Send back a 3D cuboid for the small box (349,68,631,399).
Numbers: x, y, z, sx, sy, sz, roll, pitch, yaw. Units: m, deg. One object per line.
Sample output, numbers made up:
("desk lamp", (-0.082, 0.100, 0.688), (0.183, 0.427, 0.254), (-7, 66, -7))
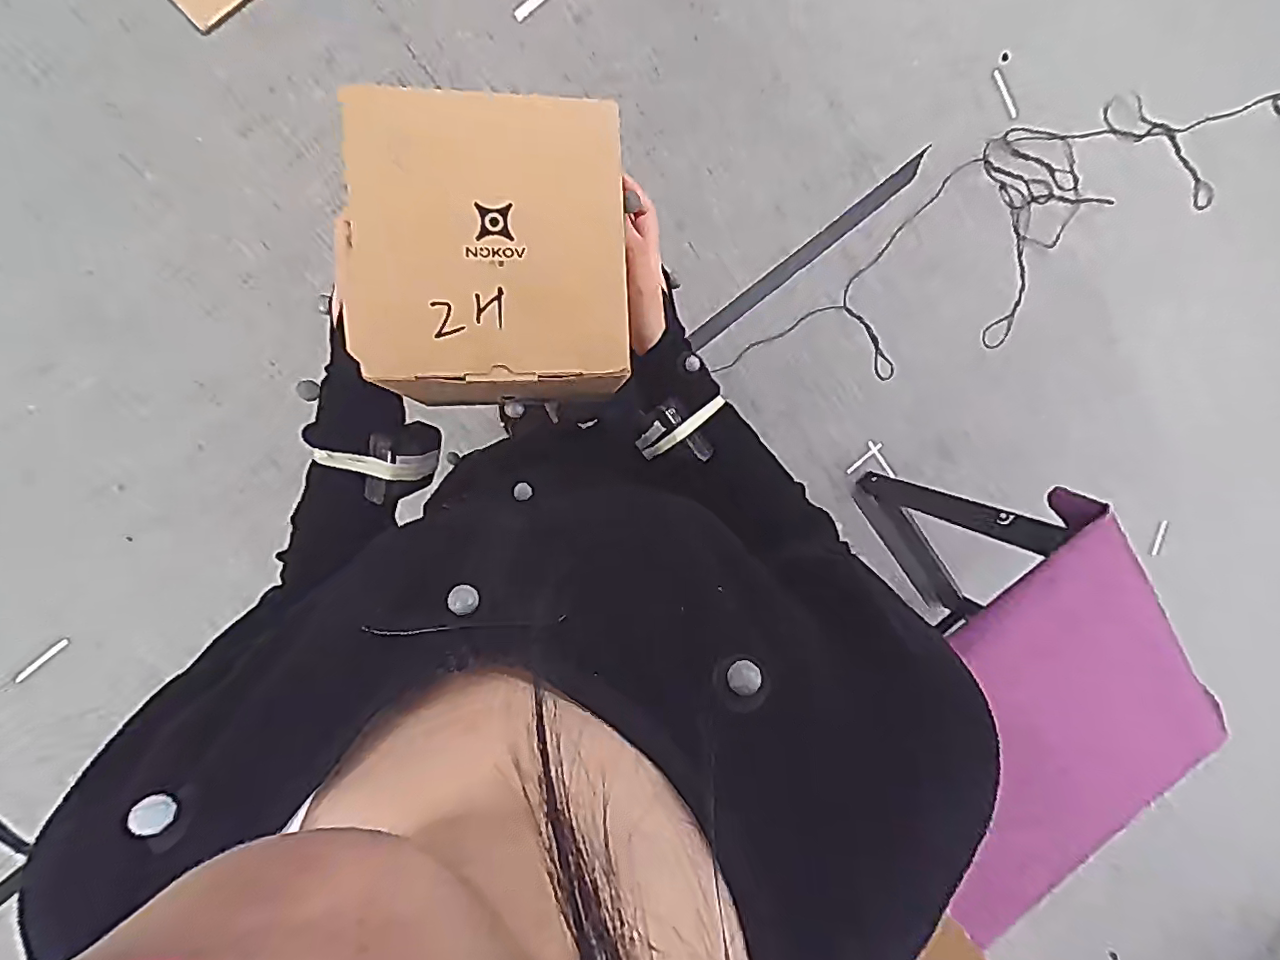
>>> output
("small box", (-0.101, -0.159, 0.409), (0.168, 0.176, 0.179), (-2, 93, -9))
